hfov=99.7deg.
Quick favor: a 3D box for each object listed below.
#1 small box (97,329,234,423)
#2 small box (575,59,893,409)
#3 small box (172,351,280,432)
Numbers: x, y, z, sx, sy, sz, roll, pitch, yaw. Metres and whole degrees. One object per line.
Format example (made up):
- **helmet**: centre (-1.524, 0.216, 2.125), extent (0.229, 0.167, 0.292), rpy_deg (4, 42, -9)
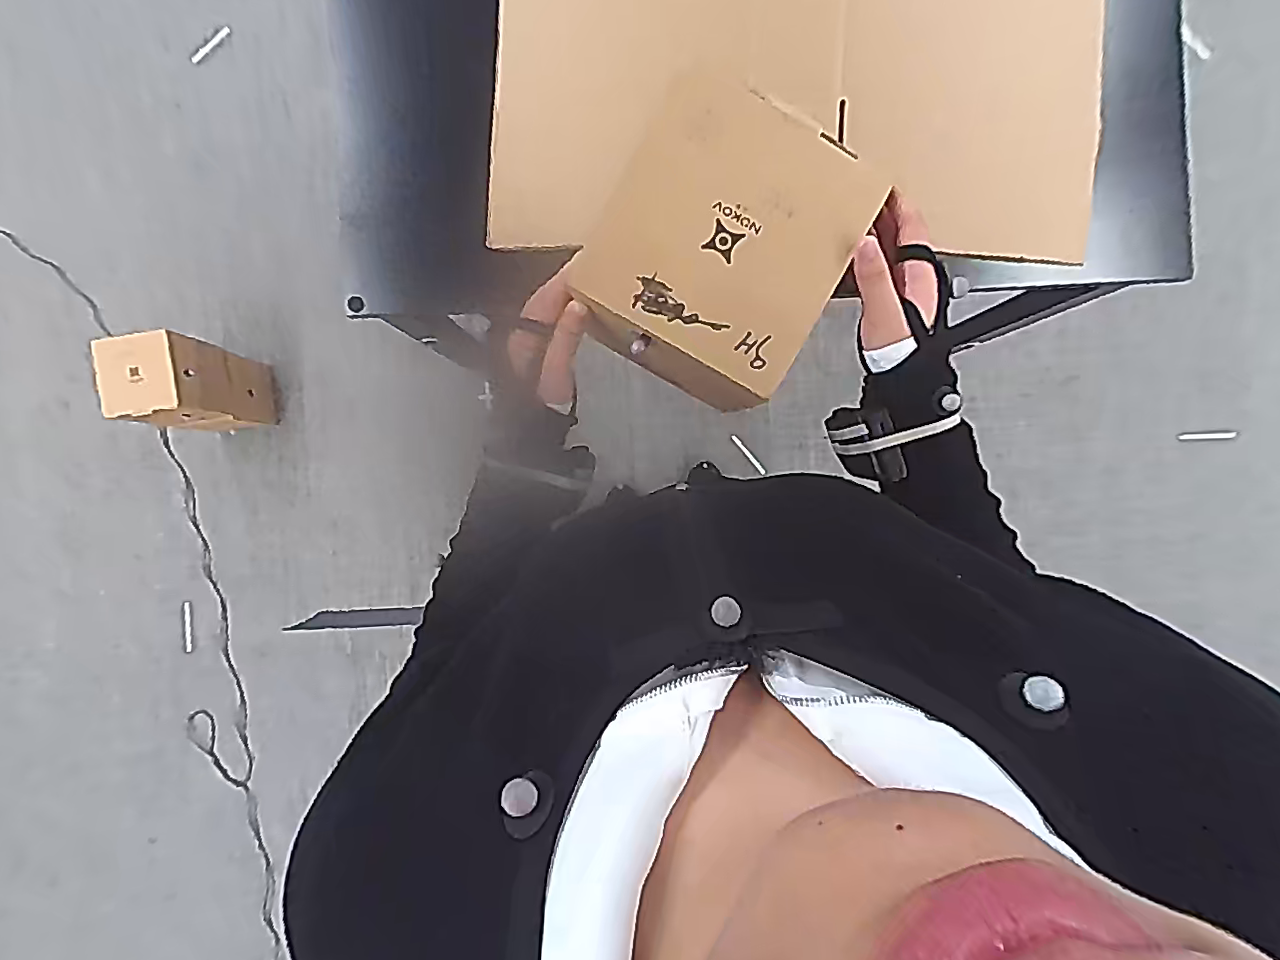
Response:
- **small box**: centre (-1.089, -0.232, 1.257), extent (0.168, 0.176, 0.179), rpy_deg (-9, 89, -1)
- **small box**: centre (0.062, -0.177, 0.451), extent (0.168, 0.176, 0.179), rpy_deg (29, 92, -2)
- **small box**: centre (-1.087, -0.227, 1.420), extent (0.168, 0.176, 0.179), rpy_deg (-6, 91, 0)
